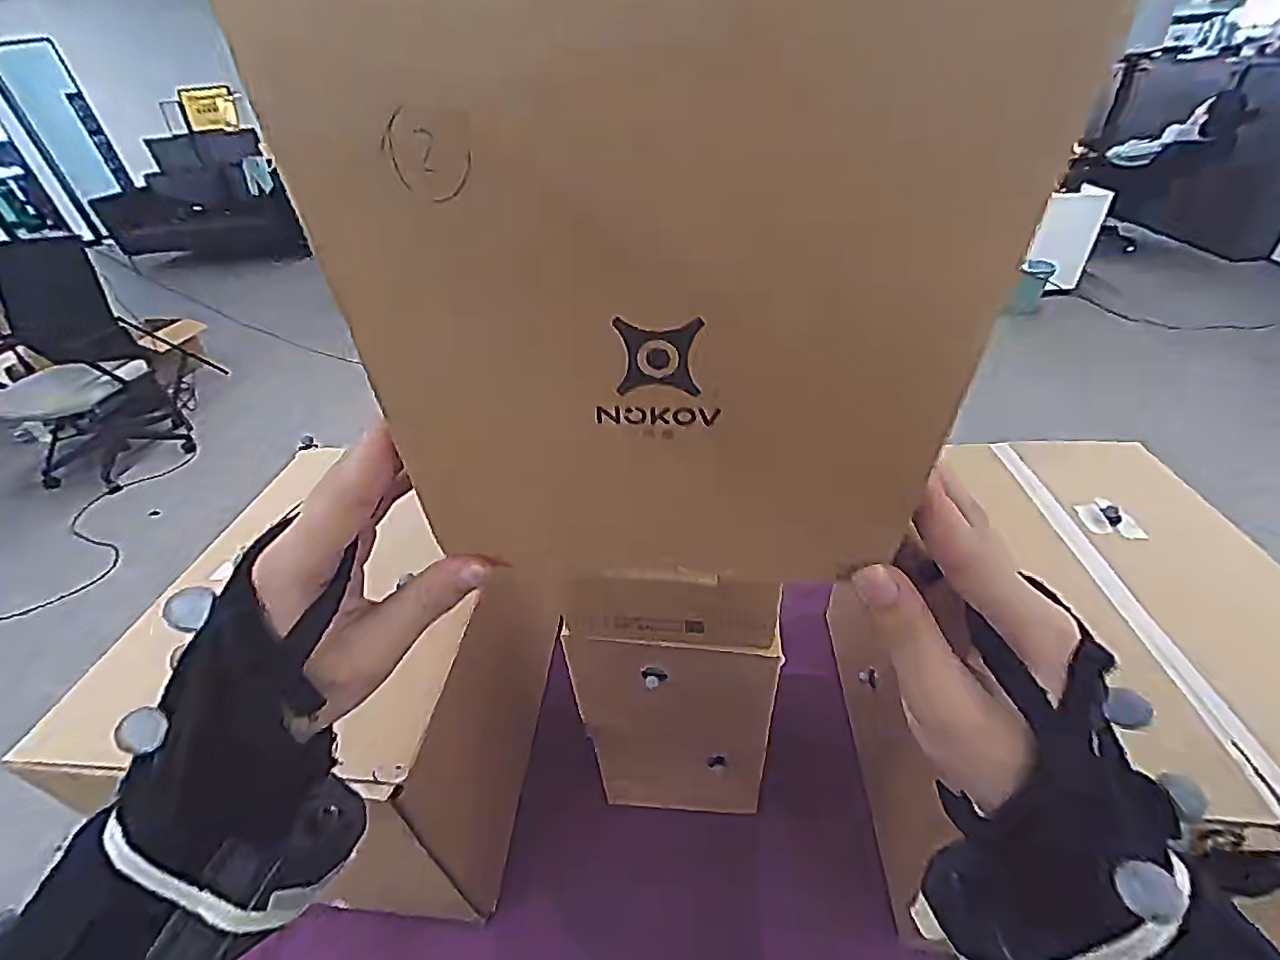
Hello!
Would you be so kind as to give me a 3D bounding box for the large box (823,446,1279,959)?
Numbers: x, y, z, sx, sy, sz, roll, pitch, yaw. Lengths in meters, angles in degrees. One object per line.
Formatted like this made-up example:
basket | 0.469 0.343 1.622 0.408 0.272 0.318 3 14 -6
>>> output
large box | 0.403 0.204 0.565 0.320 0.320 0.408 0 36 5
